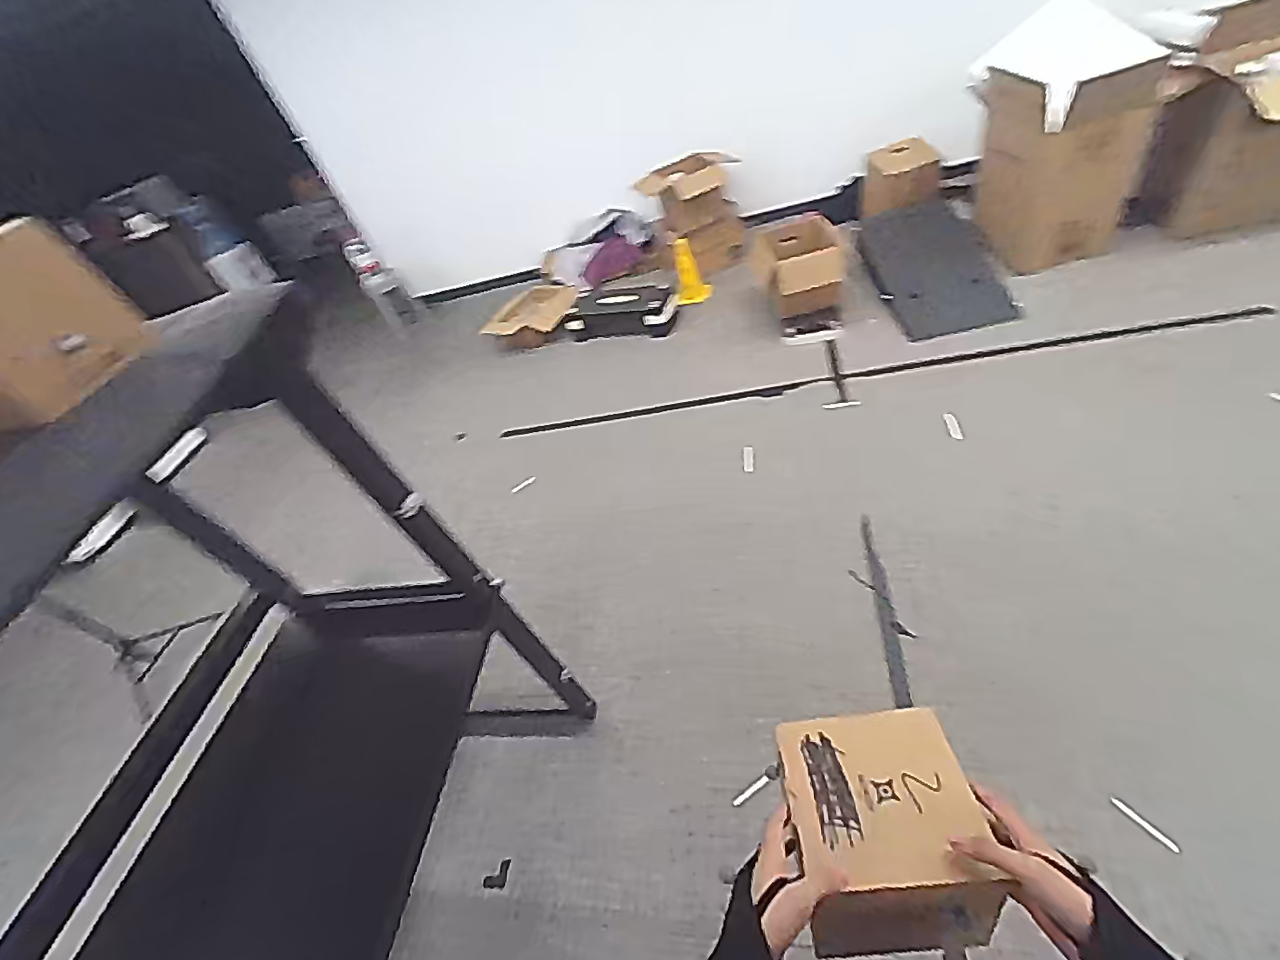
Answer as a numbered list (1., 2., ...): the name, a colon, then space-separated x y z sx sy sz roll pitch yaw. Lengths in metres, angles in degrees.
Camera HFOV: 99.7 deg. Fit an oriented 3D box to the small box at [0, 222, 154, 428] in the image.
1. small box: -0.757 -0.173 0.641 0.179 0.176 0.168 -1 48 21
